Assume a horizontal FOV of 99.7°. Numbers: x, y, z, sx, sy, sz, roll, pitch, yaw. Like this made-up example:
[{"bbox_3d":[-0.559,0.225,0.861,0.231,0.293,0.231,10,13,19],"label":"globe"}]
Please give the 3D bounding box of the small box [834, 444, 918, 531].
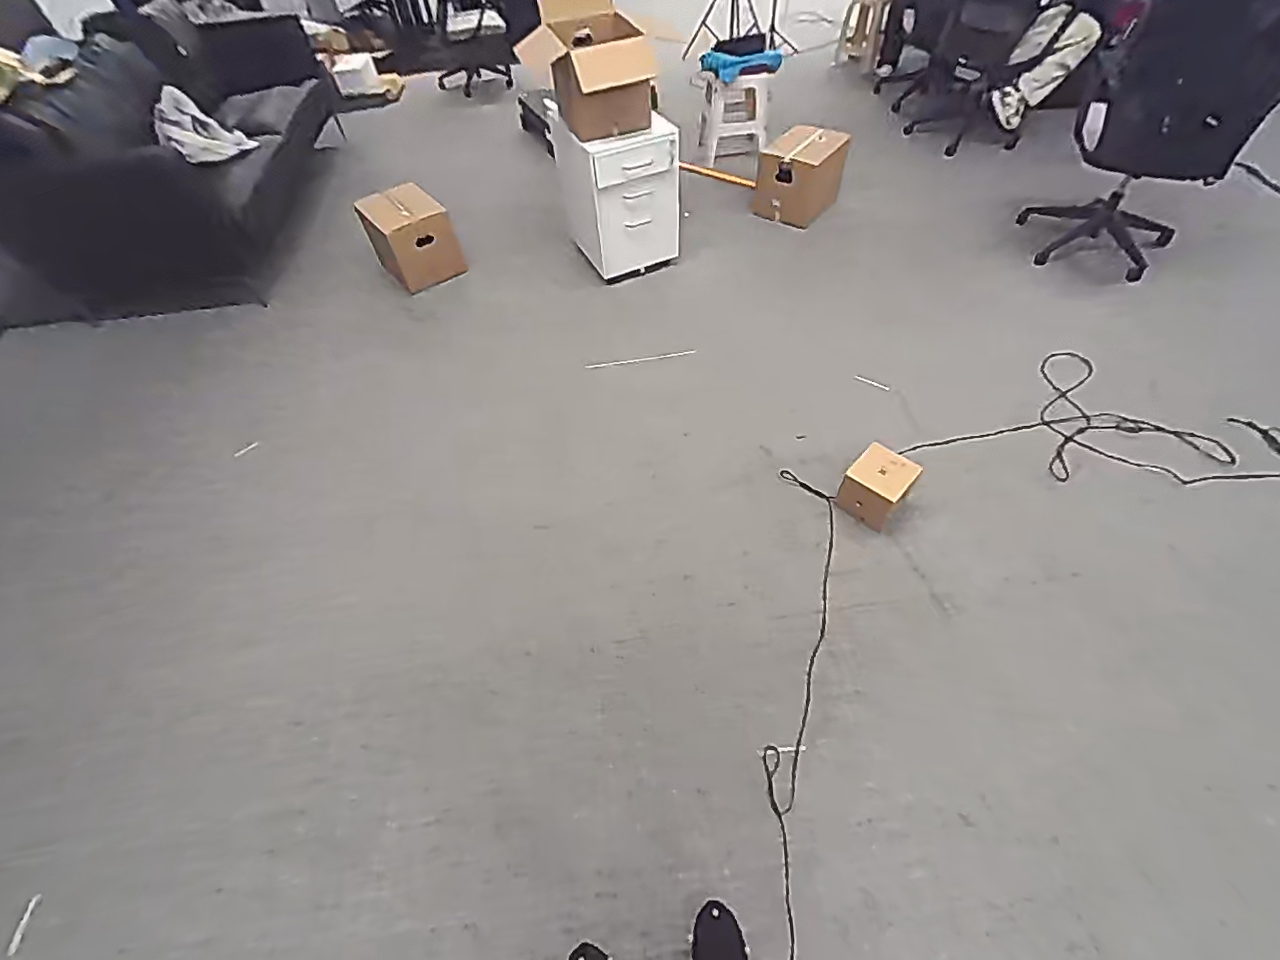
[{"bbox_3d":[0.727,0.028,1.688,0.168,0.176,0.179,36,63,27],"label":"small box"}]
